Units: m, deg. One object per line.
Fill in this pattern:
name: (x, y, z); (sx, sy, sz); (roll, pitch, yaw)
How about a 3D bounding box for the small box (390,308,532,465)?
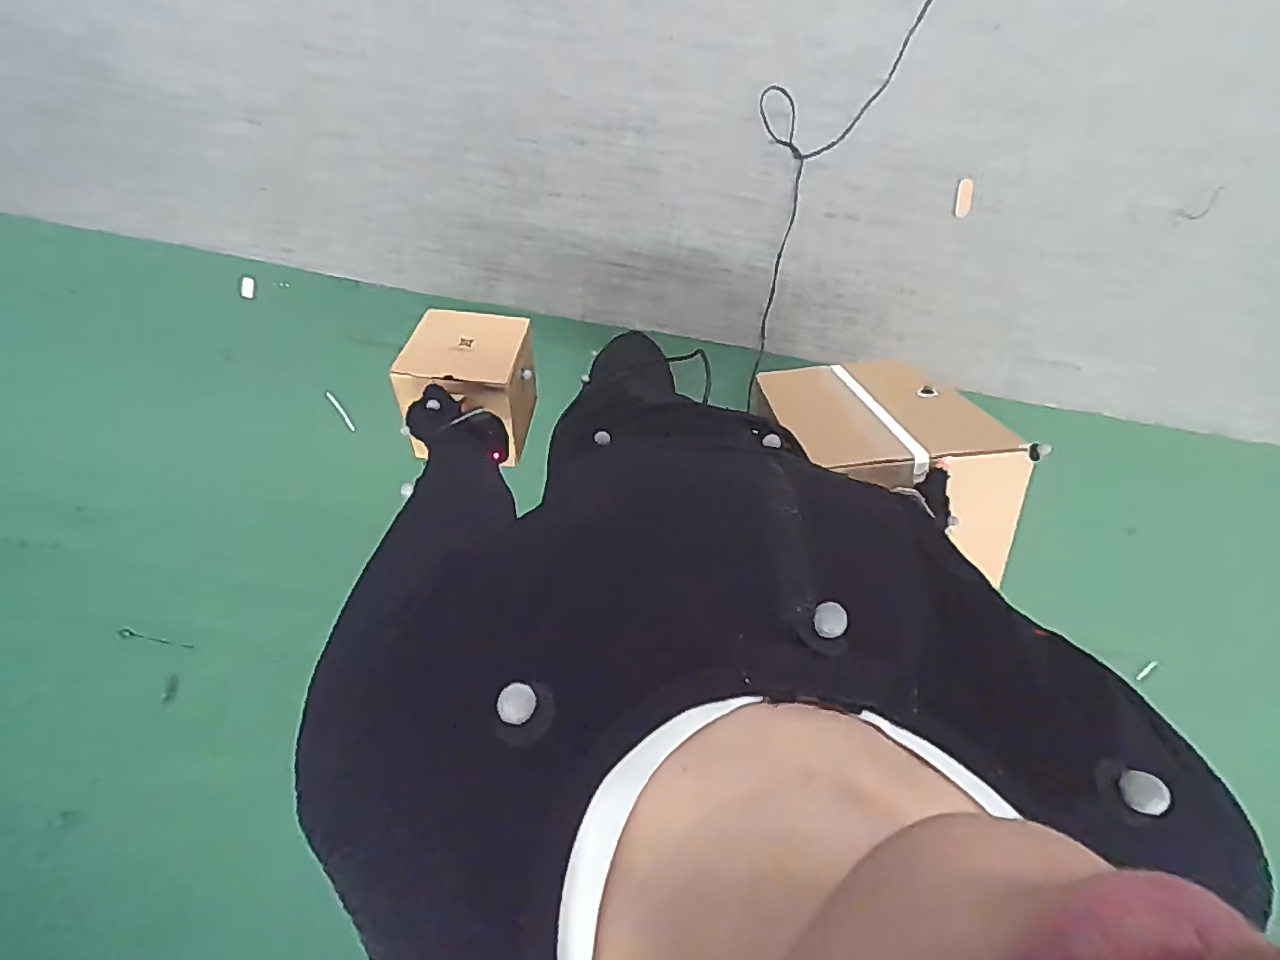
small box: (-0.273, -0.150, 0.873); (0.168, 0.179, 0.176); (5, 138, -1)
